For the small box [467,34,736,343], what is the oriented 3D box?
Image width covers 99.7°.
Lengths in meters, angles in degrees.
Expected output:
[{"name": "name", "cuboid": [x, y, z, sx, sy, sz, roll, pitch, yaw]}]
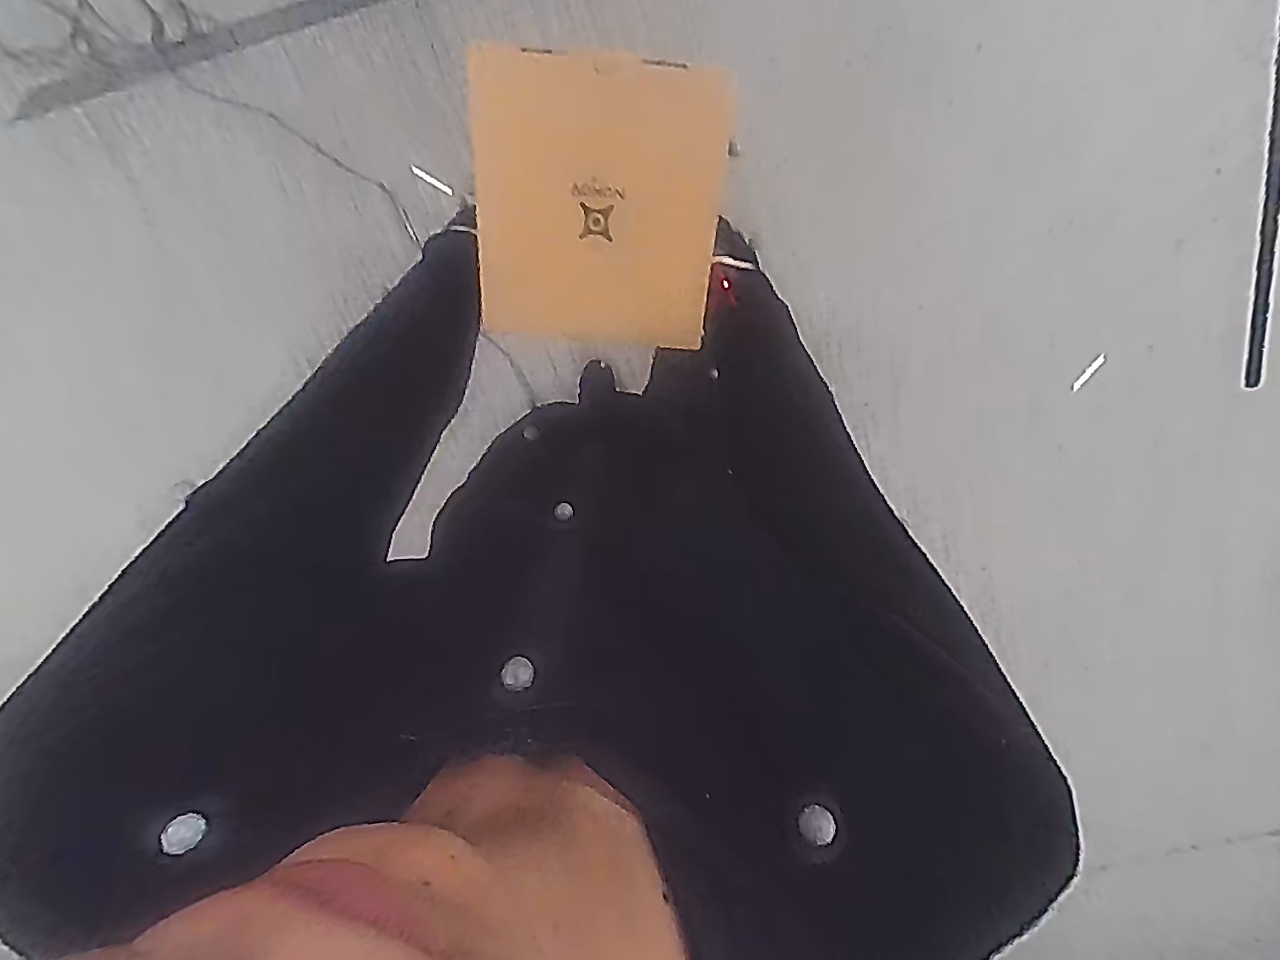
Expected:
[{"name": "small box", "cuboid": [-0.027, -0.223, 0.433, 0.168, 0.176, 0.179, 3, 119, -2]}]
